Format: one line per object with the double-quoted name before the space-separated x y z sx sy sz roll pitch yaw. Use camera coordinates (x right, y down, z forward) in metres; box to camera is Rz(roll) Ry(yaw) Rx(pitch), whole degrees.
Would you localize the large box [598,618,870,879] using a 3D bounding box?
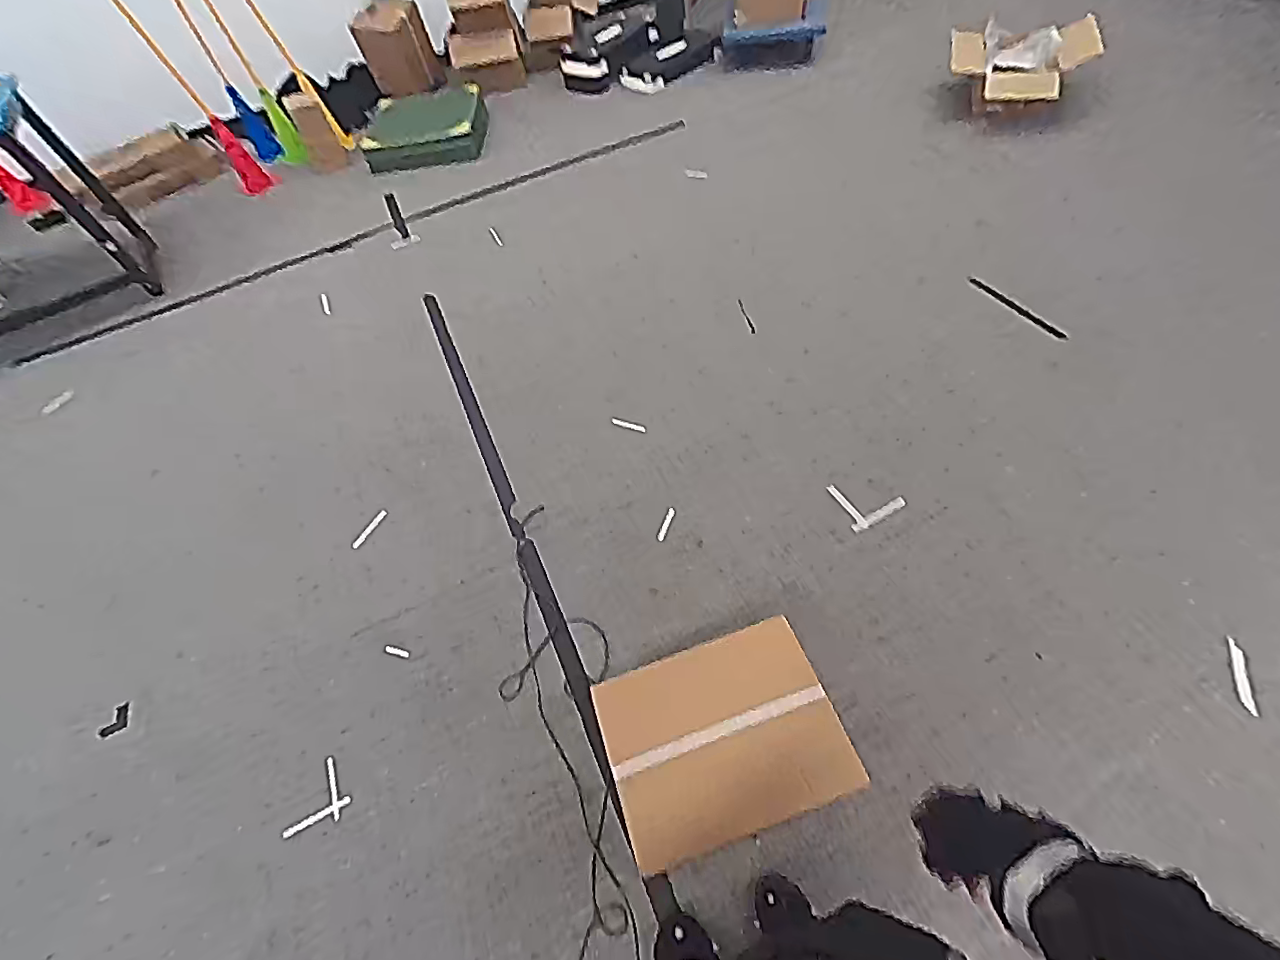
"large box" 0.167 0.537 1.080 0.408 0.320 0.320 -19 56 -5
